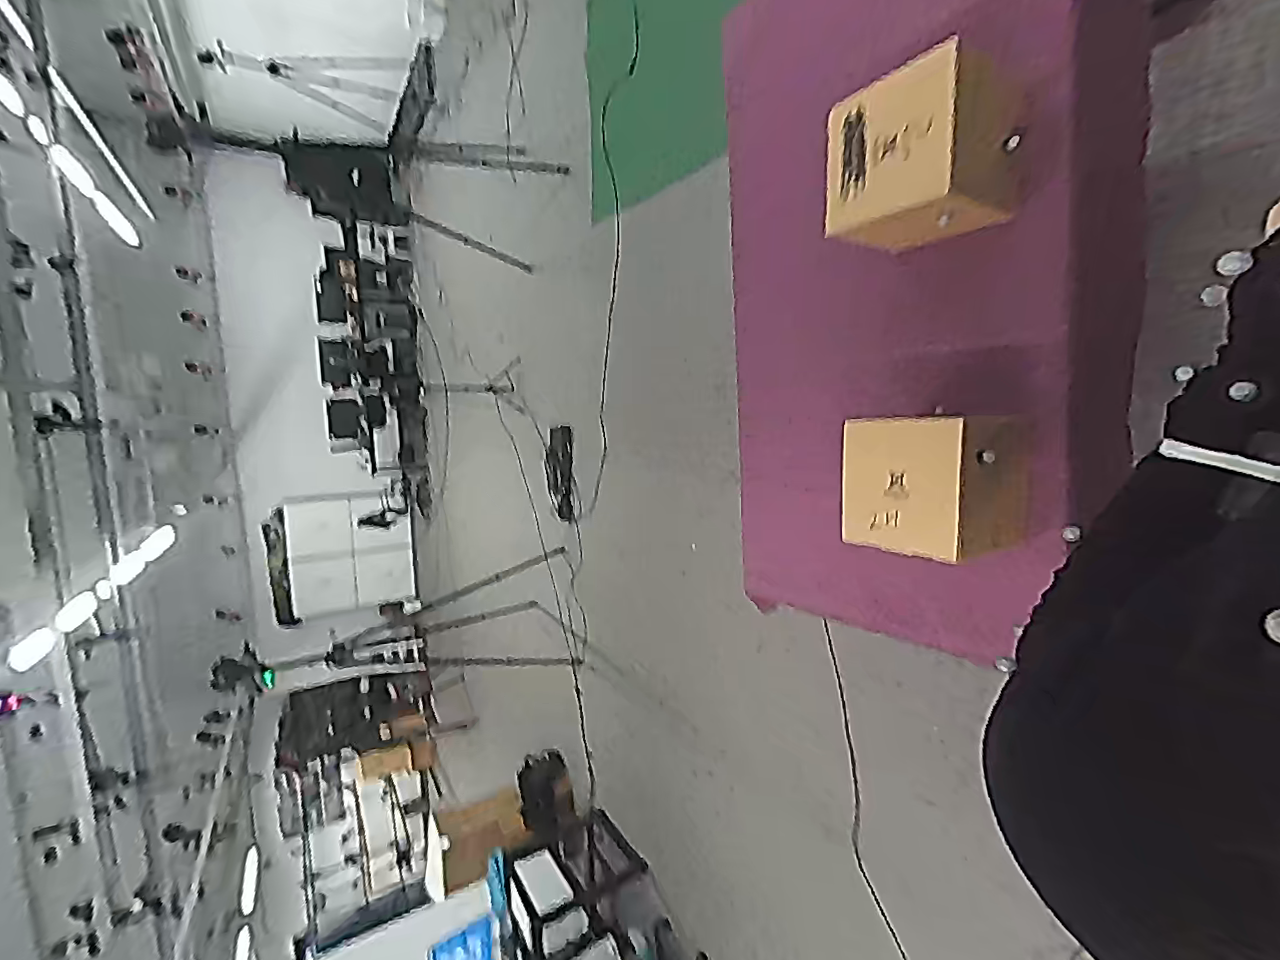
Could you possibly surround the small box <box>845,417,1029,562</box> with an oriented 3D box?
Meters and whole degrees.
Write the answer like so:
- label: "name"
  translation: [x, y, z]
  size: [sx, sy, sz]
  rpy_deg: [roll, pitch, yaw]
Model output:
- label: "small box"
  translation: [0.411, 0.002, 0.755]
  size: [0.168, 0.176, 0.179]
  rpy_deg: [9, 102, 59]
